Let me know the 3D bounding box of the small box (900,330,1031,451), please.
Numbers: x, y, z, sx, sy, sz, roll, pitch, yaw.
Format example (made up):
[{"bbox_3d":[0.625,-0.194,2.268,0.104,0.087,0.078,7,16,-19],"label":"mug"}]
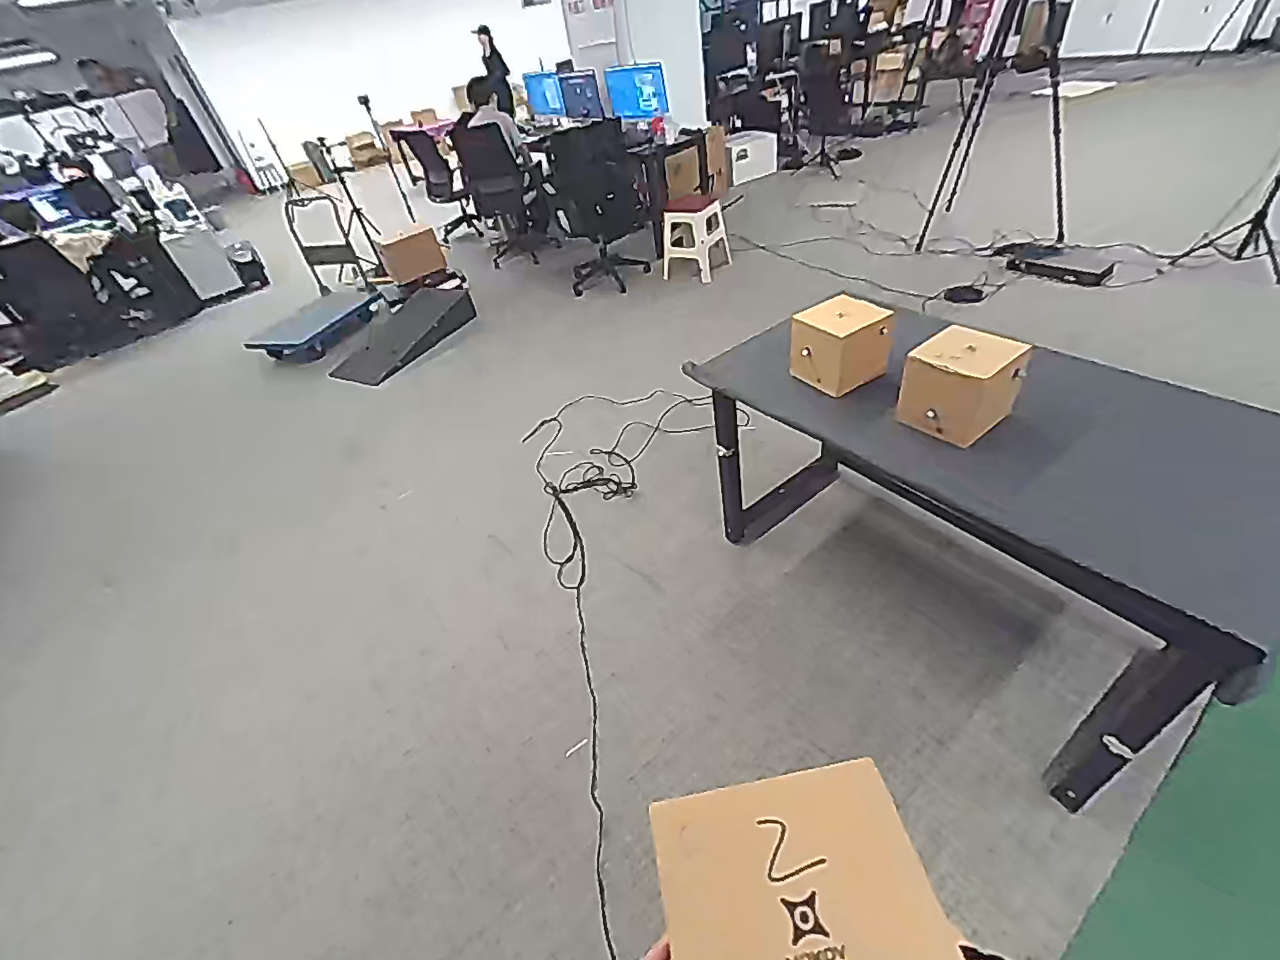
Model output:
[{"bbox_3d":[0.687,-0.194,1.163,0.179,0.176,0.168,-31,43,-22],"label":"small box"}]

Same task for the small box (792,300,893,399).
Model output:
[{"bbox_3d":[0.503,-0.327,1.362,0.179,0.176,0.168,-27,43,-18],"label":"small box"}]
